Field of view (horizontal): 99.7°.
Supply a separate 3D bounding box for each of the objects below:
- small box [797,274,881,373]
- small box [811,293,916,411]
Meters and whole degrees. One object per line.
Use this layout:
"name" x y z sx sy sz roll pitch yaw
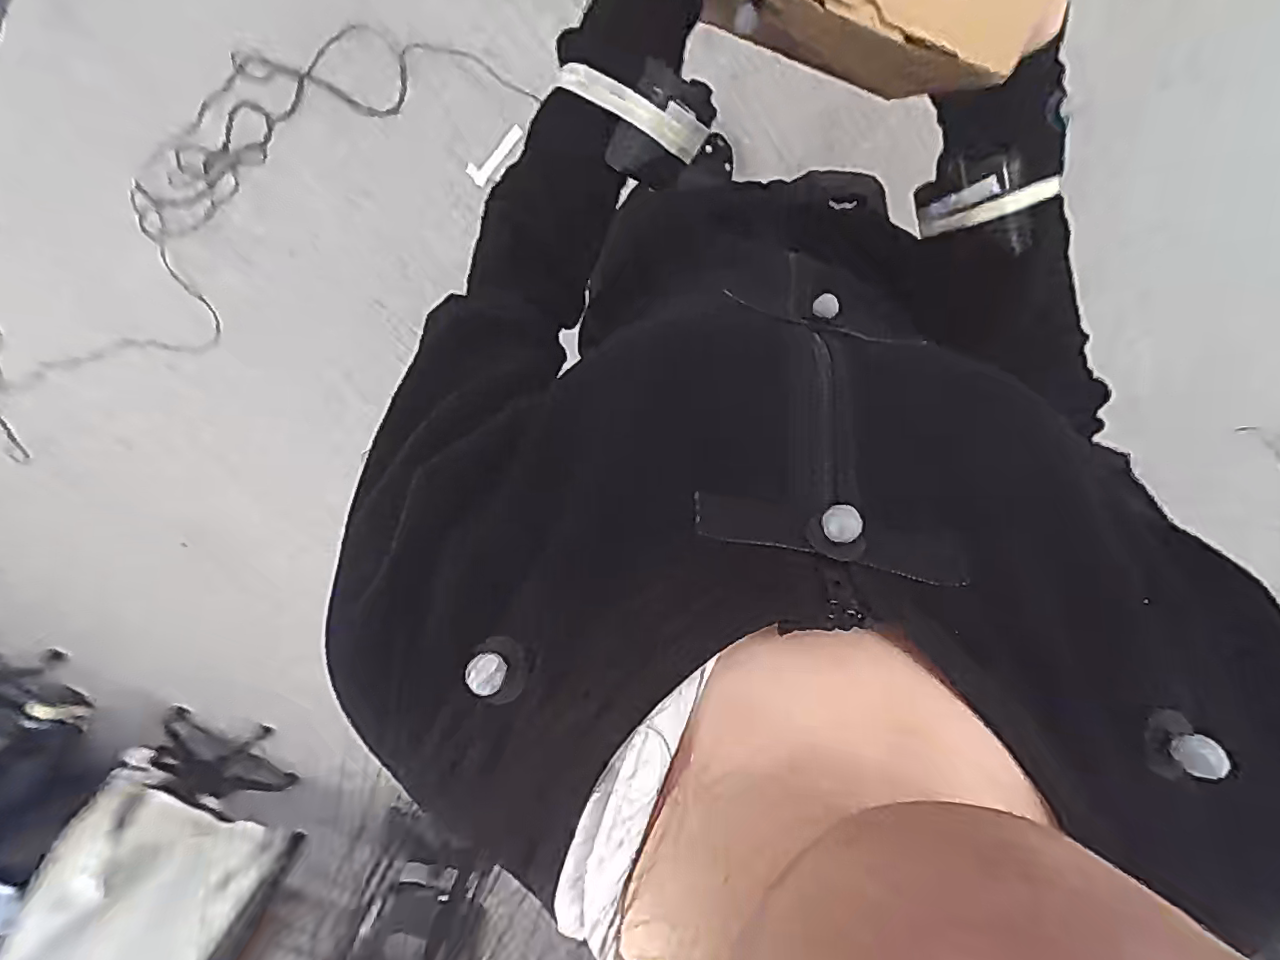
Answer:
"small box" 0.500 -0.375 1.322 0.179 0.176 0.168 -29 116 18
"small box" 0.501 -0.285 1.184 0.179 0.176 0.168 -26 116 16
